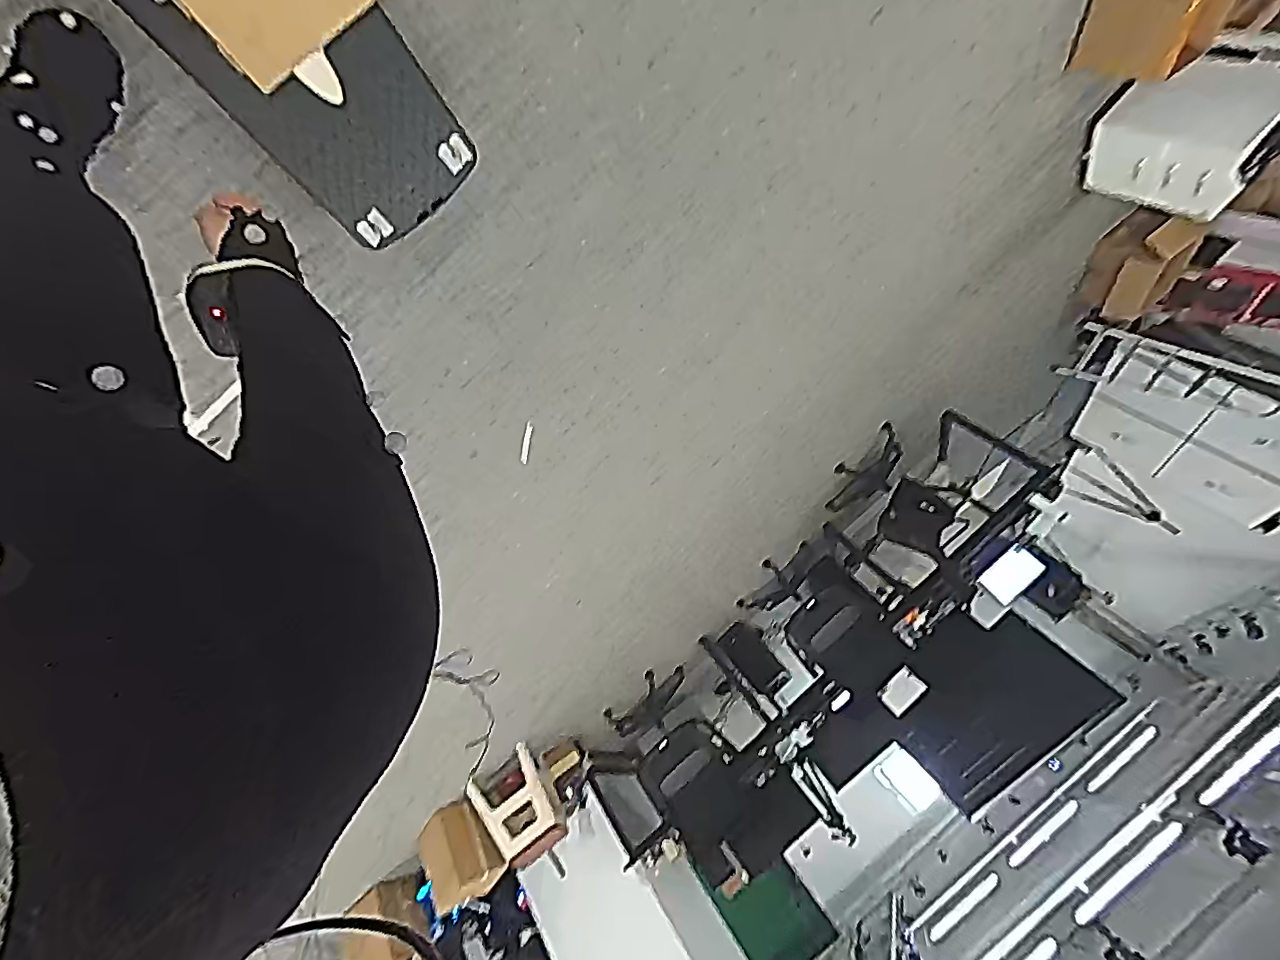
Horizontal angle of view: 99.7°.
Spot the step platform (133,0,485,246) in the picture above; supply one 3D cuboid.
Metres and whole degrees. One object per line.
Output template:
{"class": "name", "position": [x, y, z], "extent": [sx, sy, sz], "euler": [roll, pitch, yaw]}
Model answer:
{"class": "step platform", "position": [-0.545, -0.701, 0.798], "extent": [0.286, 0.204, 0.684], "euler": [-43, 144, -2]}

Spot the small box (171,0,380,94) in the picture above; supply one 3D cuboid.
{"class": "small box", "position": [-0.395, -0.531, 0.533], "extent": [0.179, 0.176, 0.168], "euler": [-42, 144, -2]}
